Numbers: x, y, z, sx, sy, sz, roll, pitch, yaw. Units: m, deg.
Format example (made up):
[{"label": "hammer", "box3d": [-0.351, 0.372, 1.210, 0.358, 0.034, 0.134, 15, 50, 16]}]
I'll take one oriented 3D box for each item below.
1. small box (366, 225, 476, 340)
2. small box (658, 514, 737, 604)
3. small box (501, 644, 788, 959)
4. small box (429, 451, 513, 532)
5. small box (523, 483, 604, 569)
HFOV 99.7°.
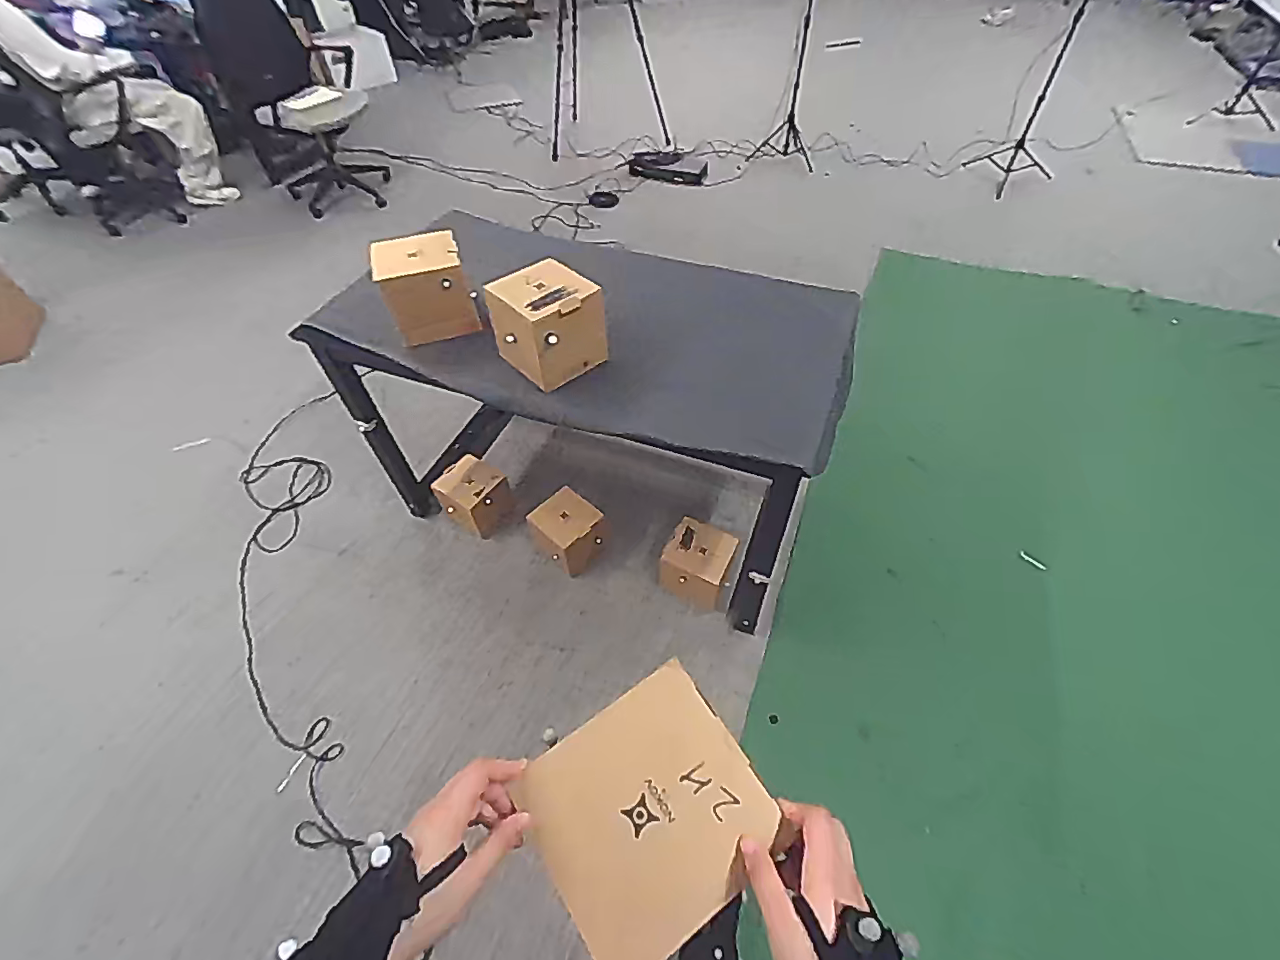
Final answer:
[{"label": "small box", "box3d": [-0.482, -0.434, 1.199, 0.179, 0.176, 0.168, -16, 52, -12]}, {"label": "small box", "box3d": [0.162, 0.233, 1.572, 0.179, 0.176, 0.168, 22, 55, 17]}, {"label": "small box", "box3d": [0.001, 0.281, 0.498, 0.179, 0.176, 0.168, -31, 70, -16]}, {"label": "small box", "box3d": [-0.542, 0.041, 1.752, 0.179, 0.176, 0.168, 27, 57, 22]}, {"label": "small box", "box3d": [-0.226, 0.147, 1.655, 0.179, 0.176, 0.168, 34, 59, 27]}]
